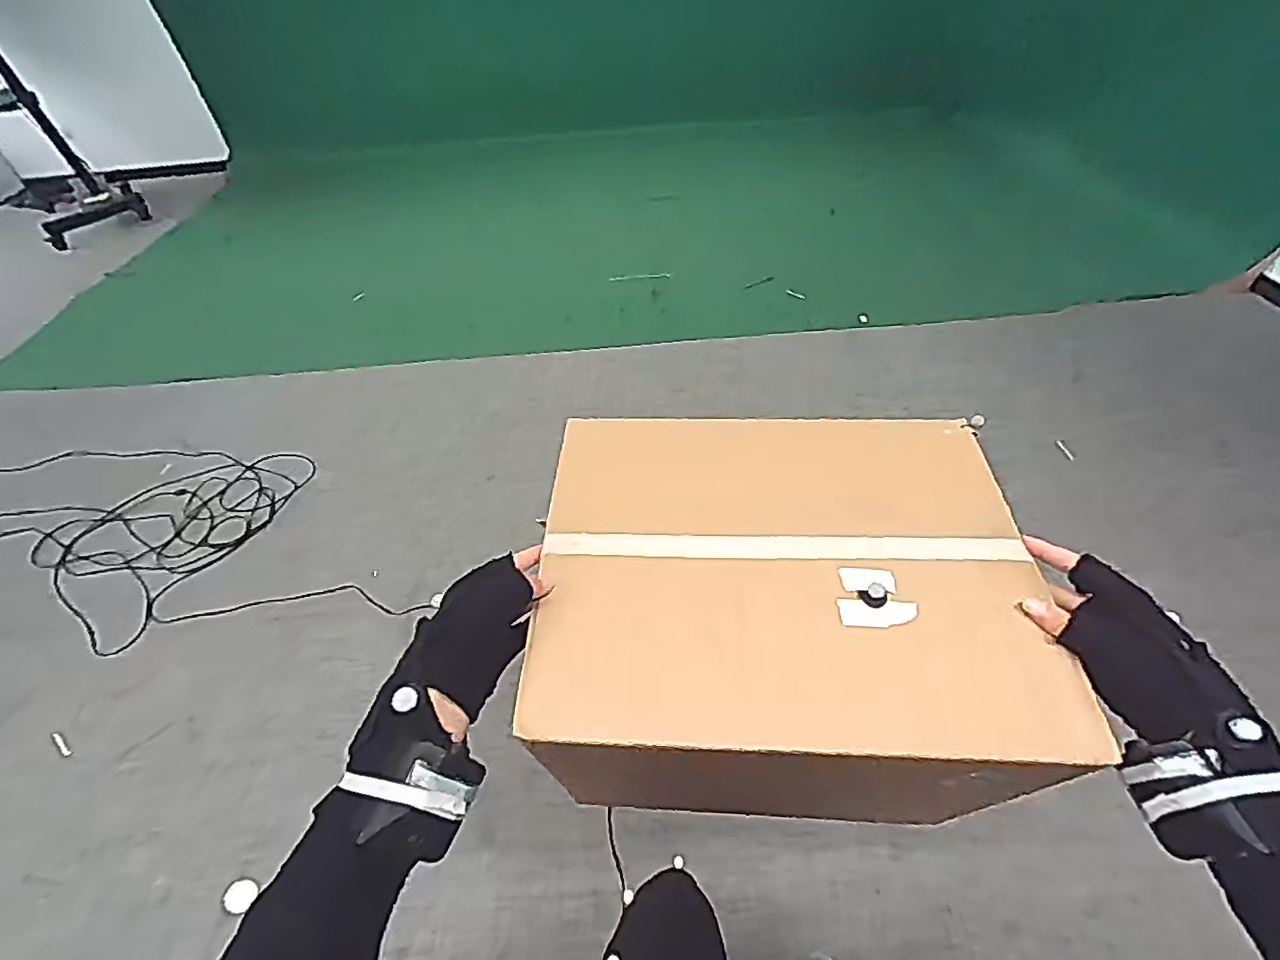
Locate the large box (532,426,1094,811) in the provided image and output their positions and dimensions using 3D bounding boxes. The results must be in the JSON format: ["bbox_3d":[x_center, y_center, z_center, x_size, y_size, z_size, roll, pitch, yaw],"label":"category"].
[{"bbox_3d":[0.127,0.158,0.589,0.408,0.320,0.320,0,52,4],"label":"large box"}]
